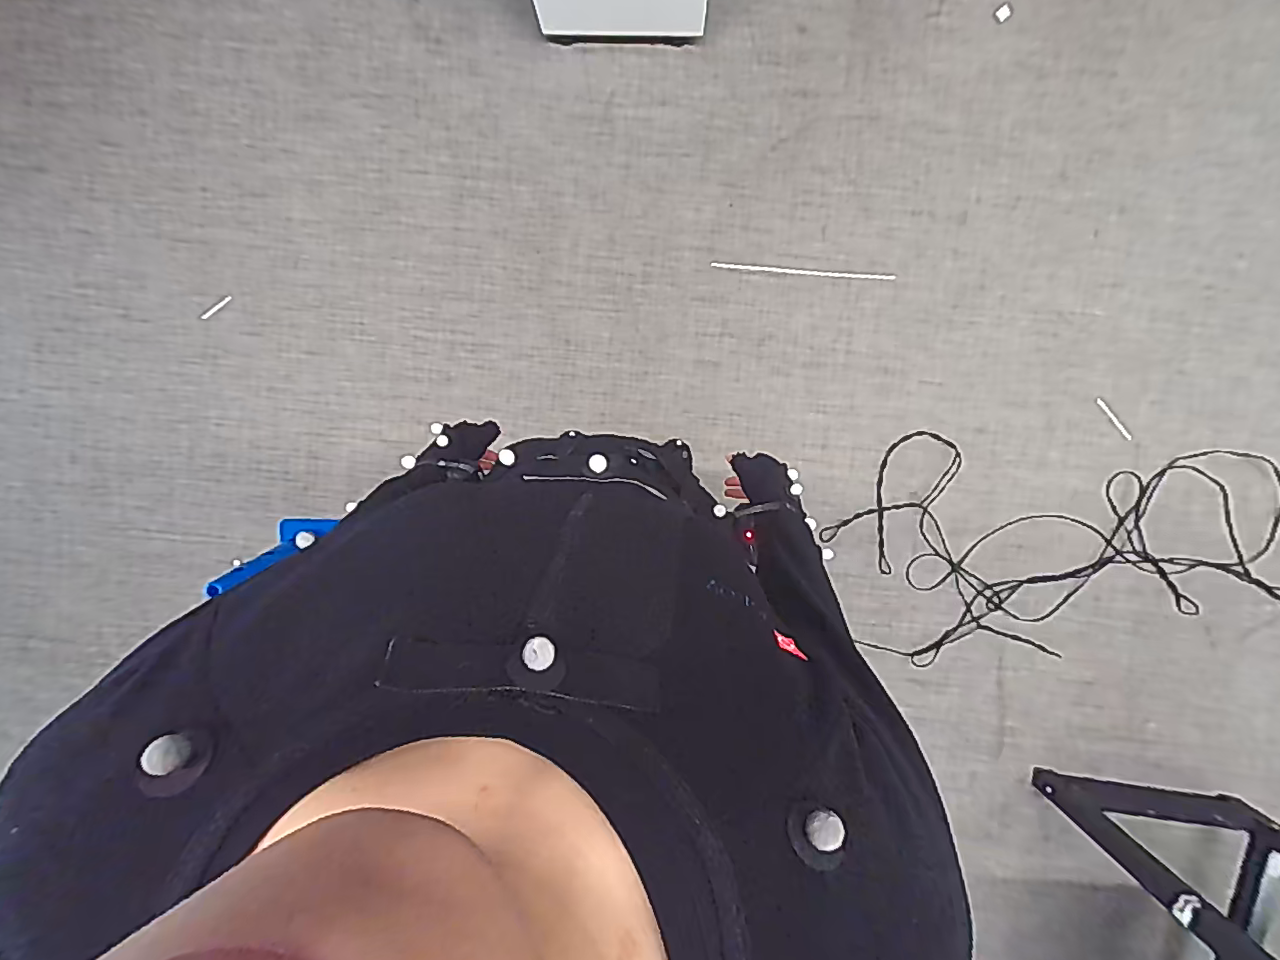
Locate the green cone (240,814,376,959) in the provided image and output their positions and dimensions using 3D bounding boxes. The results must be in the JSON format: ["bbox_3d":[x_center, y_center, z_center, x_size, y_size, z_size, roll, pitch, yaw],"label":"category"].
[{"bbox_3d":[-0.875,1.084,1.394,0.200,0.368,0.202,8,94,1],"label":"green cone"}]
